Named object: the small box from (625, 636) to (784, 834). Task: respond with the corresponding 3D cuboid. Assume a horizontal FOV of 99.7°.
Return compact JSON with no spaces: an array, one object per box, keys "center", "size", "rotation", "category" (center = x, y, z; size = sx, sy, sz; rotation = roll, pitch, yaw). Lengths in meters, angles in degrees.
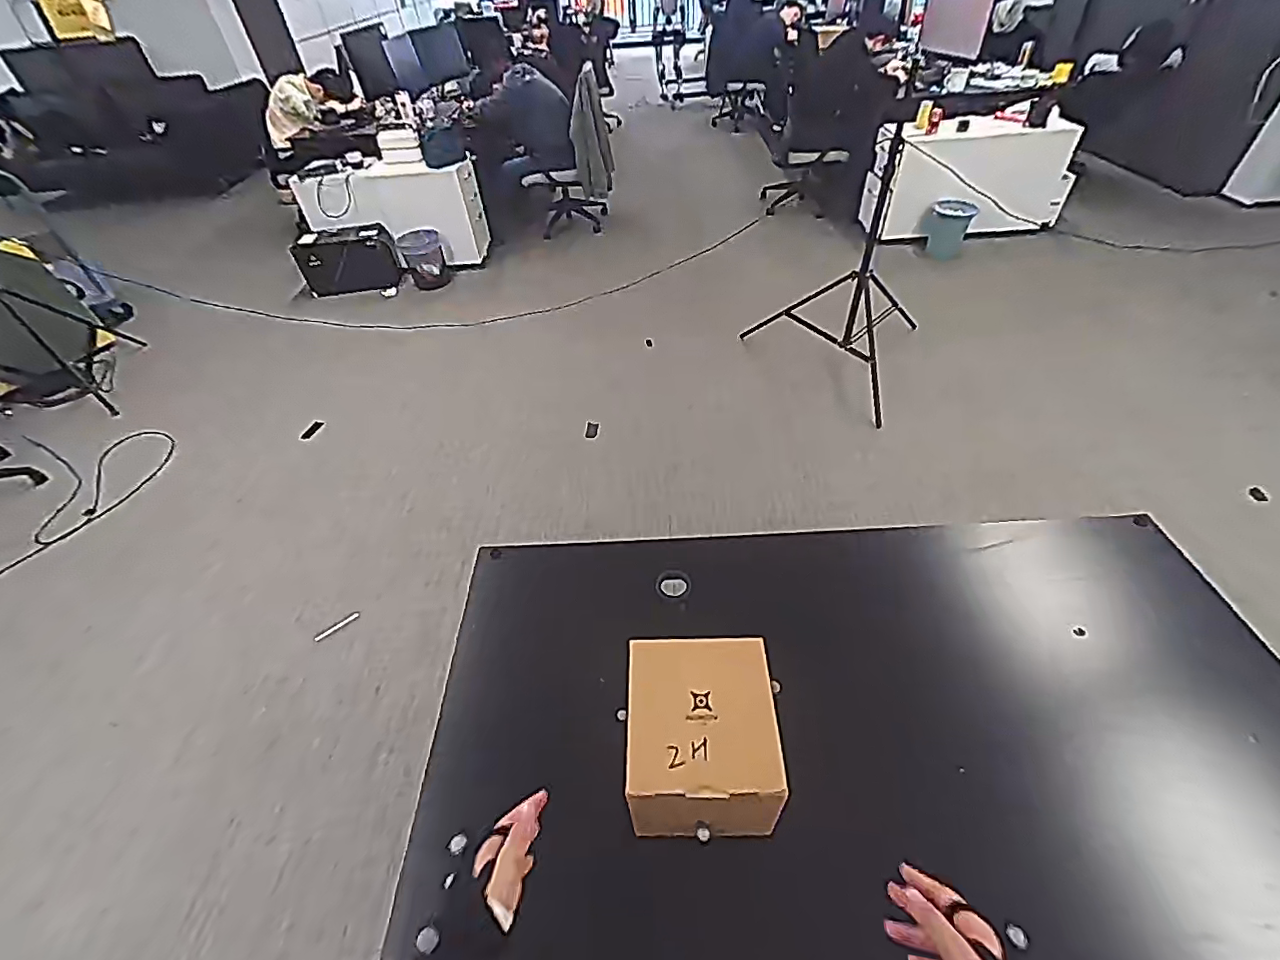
[{"center":[0.072,0.313,0.666],"size":[0.168,0.176,0.179],"rotation":[-3,45,3],"category":"small box"}]
